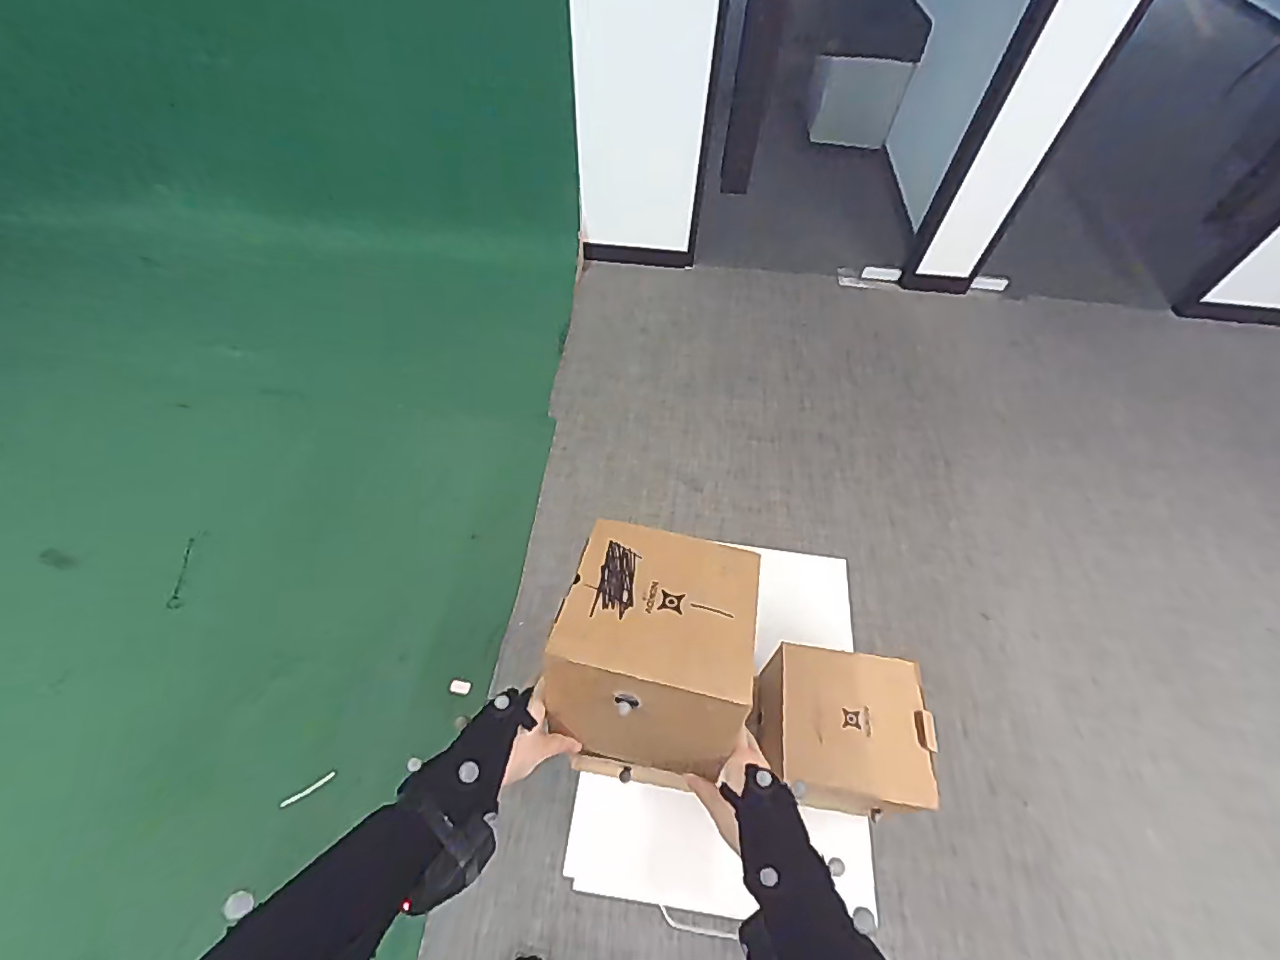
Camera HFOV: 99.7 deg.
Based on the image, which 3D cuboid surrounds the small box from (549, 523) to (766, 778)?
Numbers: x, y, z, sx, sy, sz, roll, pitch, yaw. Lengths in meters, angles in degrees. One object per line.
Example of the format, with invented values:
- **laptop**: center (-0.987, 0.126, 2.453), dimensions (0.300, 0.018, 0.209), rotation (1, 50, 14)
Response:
- **small box**: center (0.019, 0.173, 0.549), dimensions (0.179, 0.176, 0.168), rotation (13, 42, 6)

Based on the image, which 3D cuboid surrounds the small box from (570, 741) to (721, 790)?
- **small box**: center (0.014, 0.301, 0.716), dimensions (0.179, 0.176, 0.168), rotation (9, 56, 2)

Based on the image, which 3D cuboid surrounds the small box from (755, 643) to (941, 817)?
- **small box**: center (0.257, 0.332, 0.709), dimensions (0.179, 0.176, 0.168), rotation (8, 55, 5)
